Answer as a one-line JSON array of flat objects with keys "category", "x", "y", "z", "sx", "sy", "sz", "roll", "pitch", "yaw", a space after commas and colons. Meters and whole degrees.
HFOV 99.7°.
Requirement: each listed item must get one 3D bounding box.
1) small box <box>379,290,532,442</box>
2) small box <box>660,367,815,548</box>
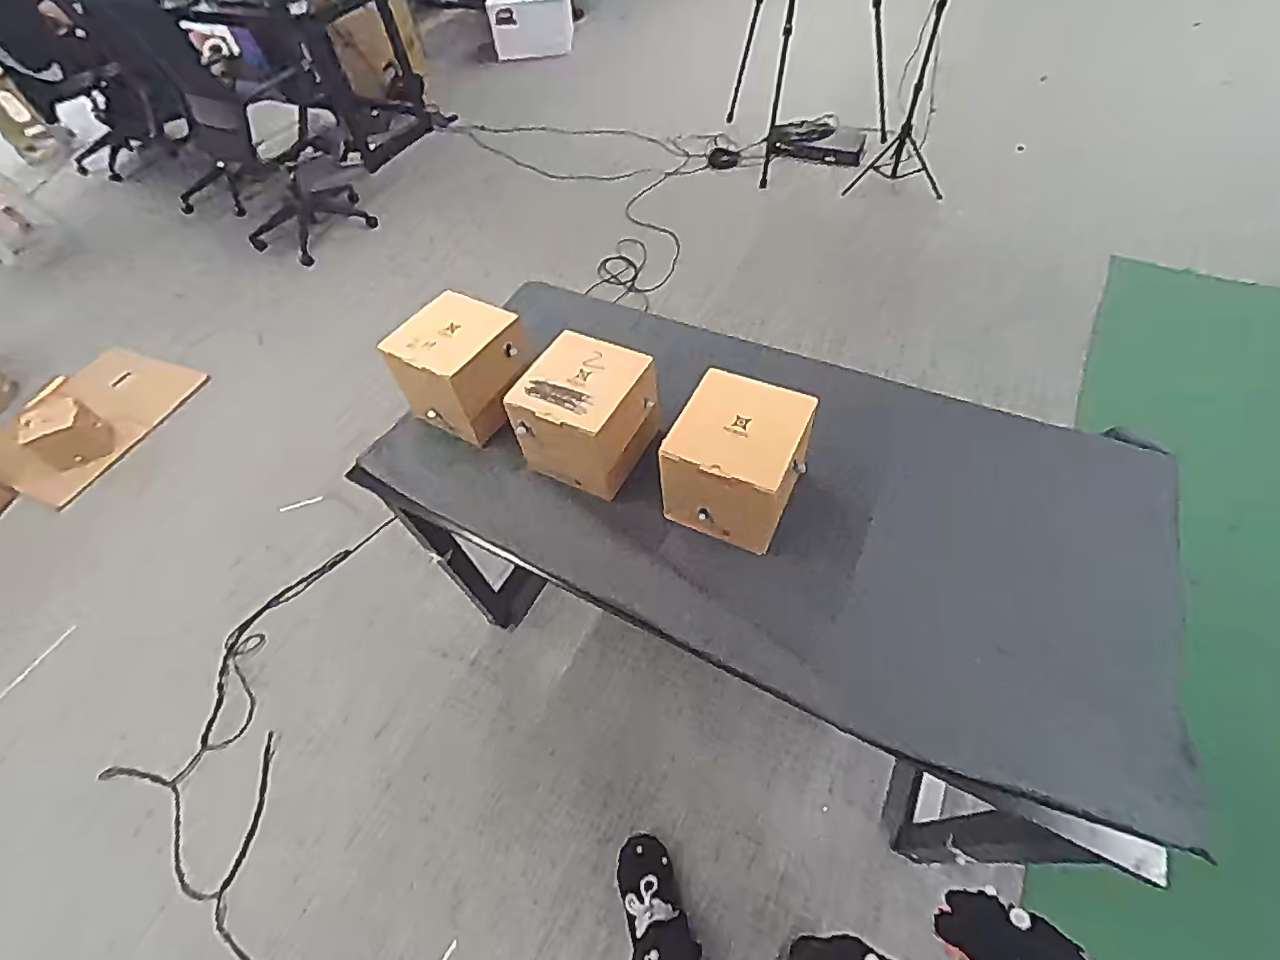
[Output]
[{"category": "small box", "x": -0.312, "y": -0.201, "z": 0.960, "sx": 0.168, "sy": 0.176, "sz": 0.179, "roll": 24, "pitch": 59, "yaw": 21}, {"category": "small box", "x": 0.140, "y": -0.031, "z": 0.802, "sx": 0.168, "sy": 0.176, "sz": 0.179, "roll": 21, "pitch": 60, "yaw": 19}]
